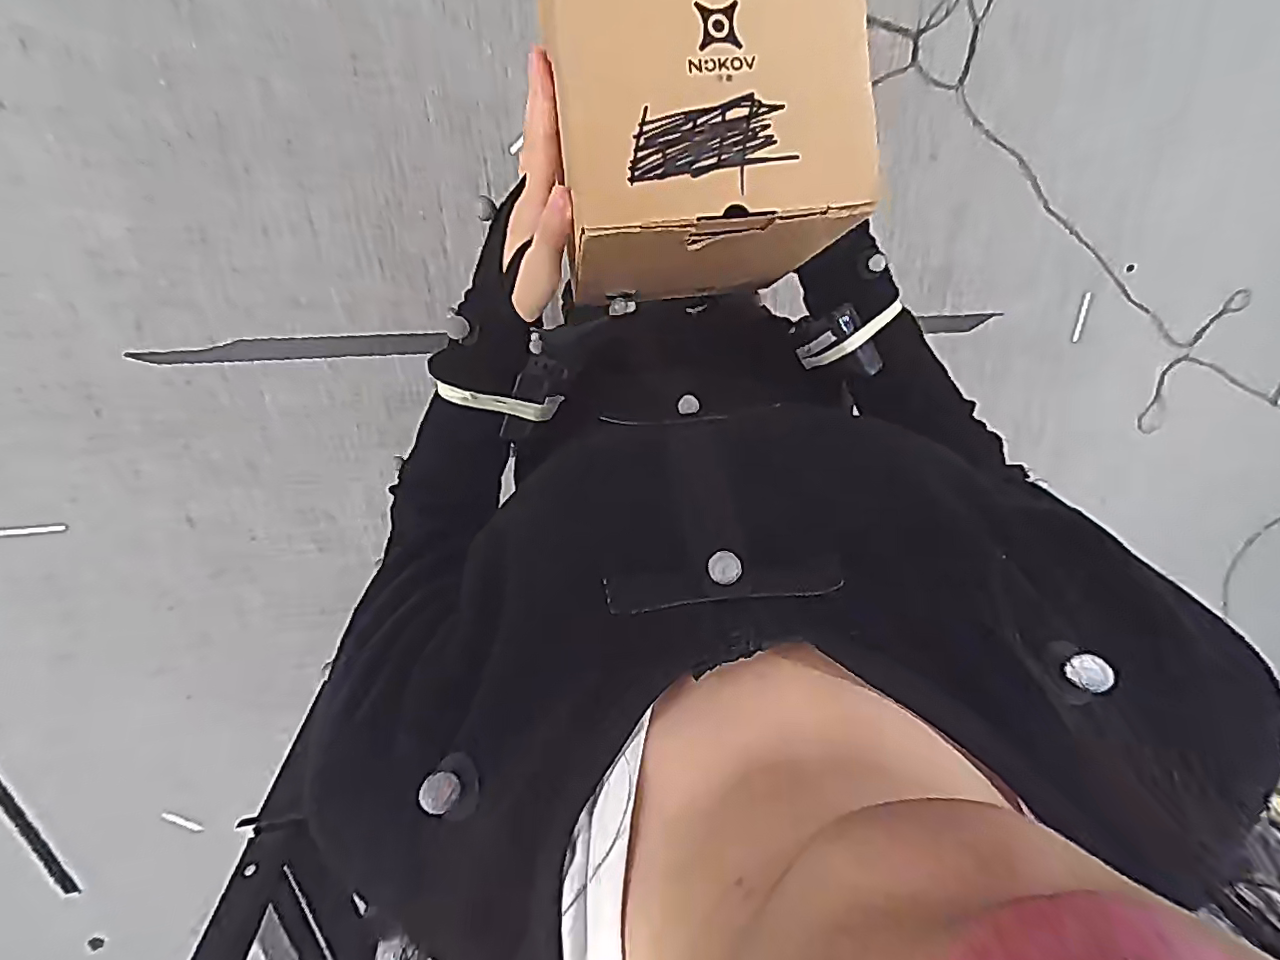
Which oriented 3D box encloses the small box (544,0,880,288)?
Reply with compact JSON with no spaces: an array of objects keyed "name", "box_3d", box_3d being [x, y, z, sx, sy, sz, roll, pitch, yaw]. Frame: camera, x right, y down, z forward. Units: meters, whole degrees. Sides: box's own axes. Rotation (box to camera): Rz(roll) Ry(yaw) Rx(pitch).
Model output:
[{"name":"small box","box_3d":[0.031,-0.235,0.356,0.168,0.176,0.179,-9,95,-7]}]
